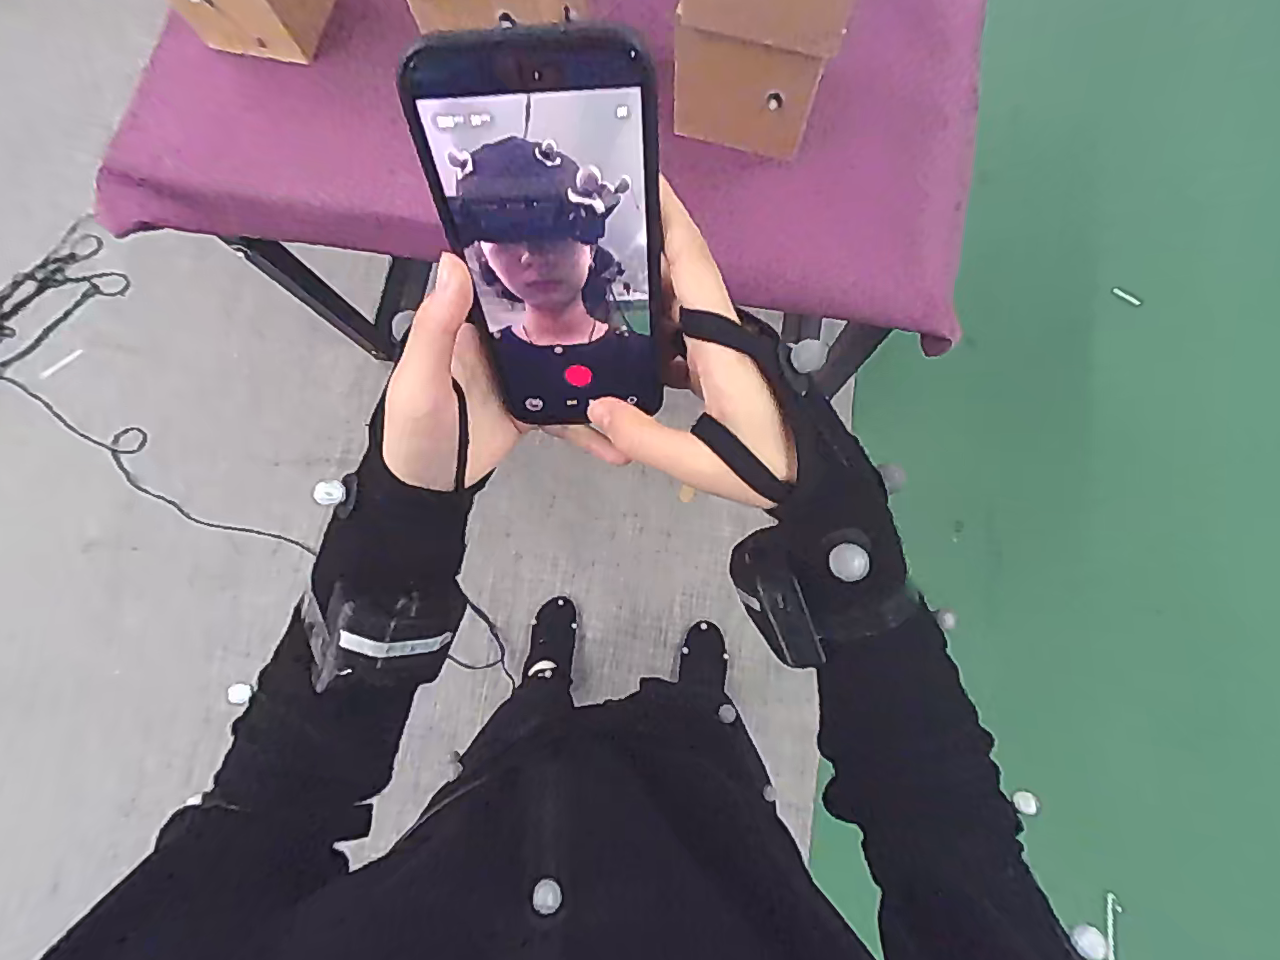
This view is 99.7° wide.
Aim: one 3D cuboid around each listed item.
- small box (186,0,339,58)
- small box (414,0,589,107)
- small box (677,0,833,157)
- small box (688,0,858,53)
[{"bbox_3d":[-0.550,-0.742,0.755,0.168,0.176,0.179,13,80,5],"label":"small box"},{"bbox_3d":[-0.175,-0.640,0.718,0.179,0.176,0.168,12,80,5],"label":"small box"},{"bbox_3d":[0.154,-0.554,0.689,0.179,0.176,0.168,18,81,7],"label":"small box"},{"bbox_3d":[0.152,-0.567,0.525,0.179,0.176,0.168,18,80,5],"label":"small box"}]
